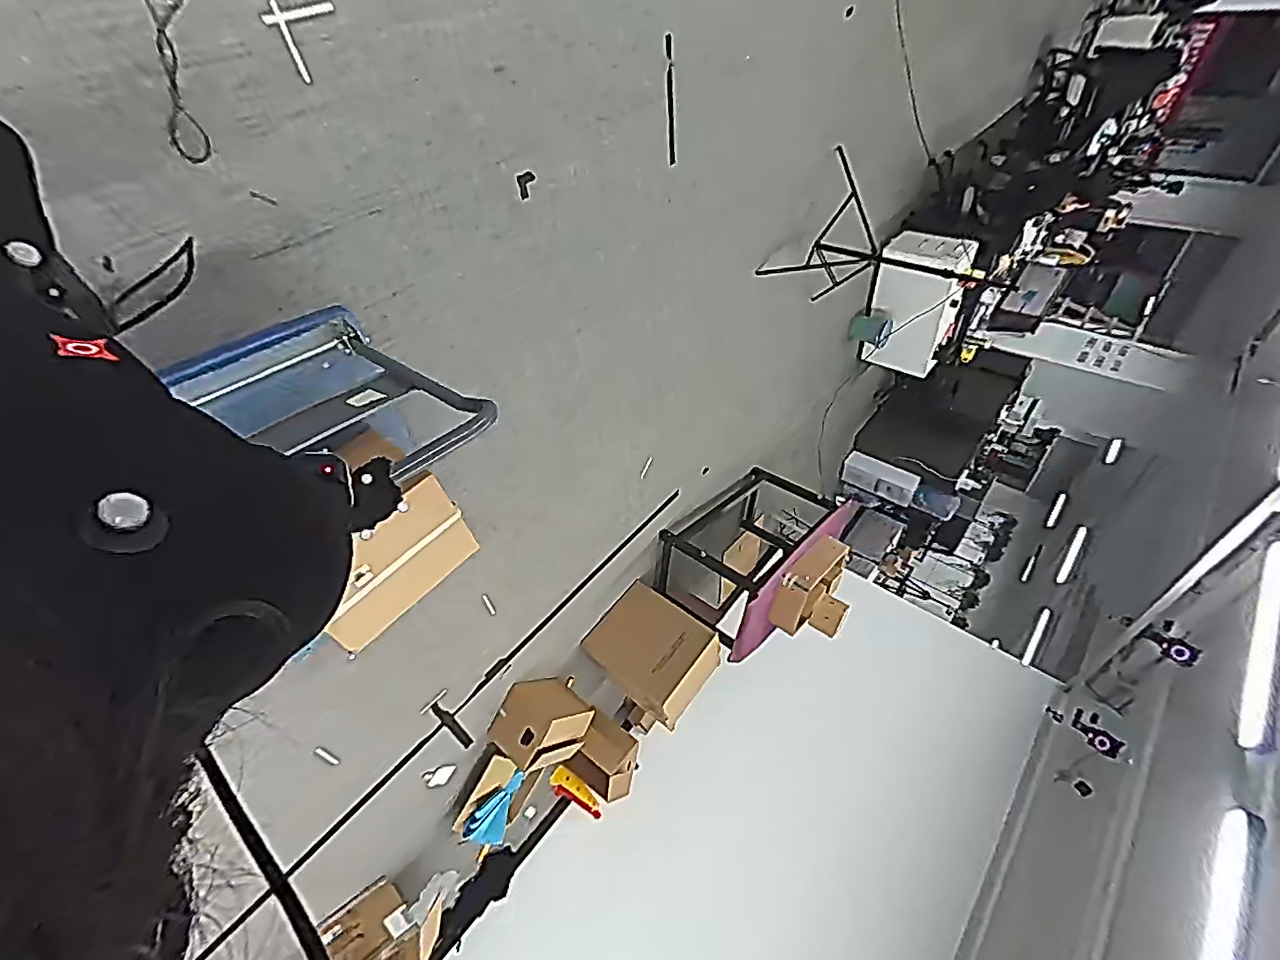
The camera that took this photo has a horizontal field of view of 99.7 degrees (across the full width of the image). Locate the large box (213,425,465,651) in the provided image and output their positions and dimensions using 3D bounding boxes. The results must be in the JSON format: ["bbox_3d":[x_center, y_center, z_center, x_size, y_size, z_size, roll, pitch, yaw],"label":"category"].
[{"bbox_3d":[-0.738,0.134,1.371,0.408,0.320,0.320,-43,144,-26],"label":"large box"}]
